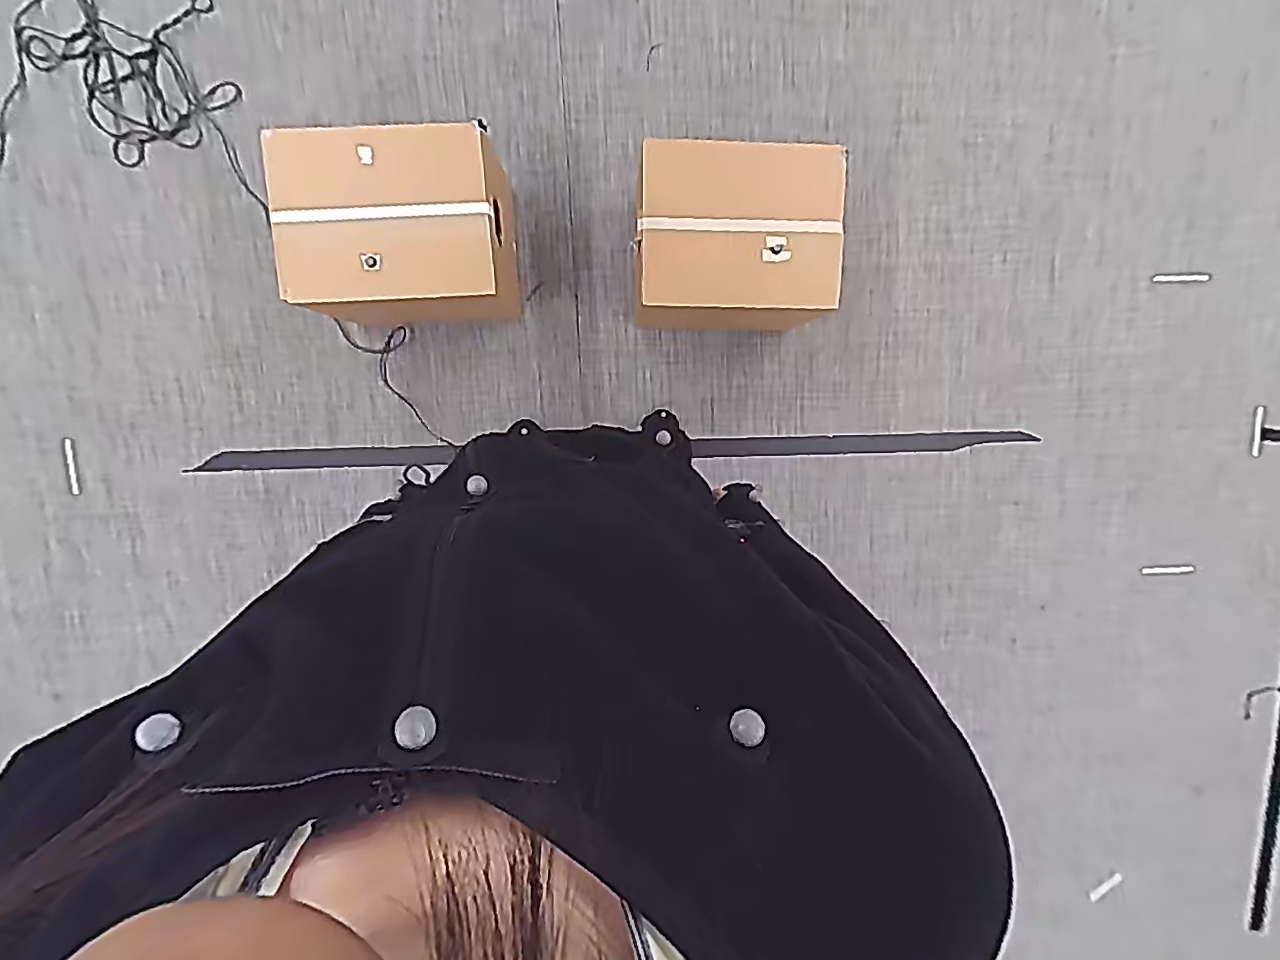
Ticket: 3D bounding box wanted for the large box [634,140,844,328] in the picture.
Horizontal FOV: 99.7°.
[{"bbox_3d":[0.195,-0.524,1.223,0.408,0.320,0.320,0,98,-4],"label":"large box"}]
